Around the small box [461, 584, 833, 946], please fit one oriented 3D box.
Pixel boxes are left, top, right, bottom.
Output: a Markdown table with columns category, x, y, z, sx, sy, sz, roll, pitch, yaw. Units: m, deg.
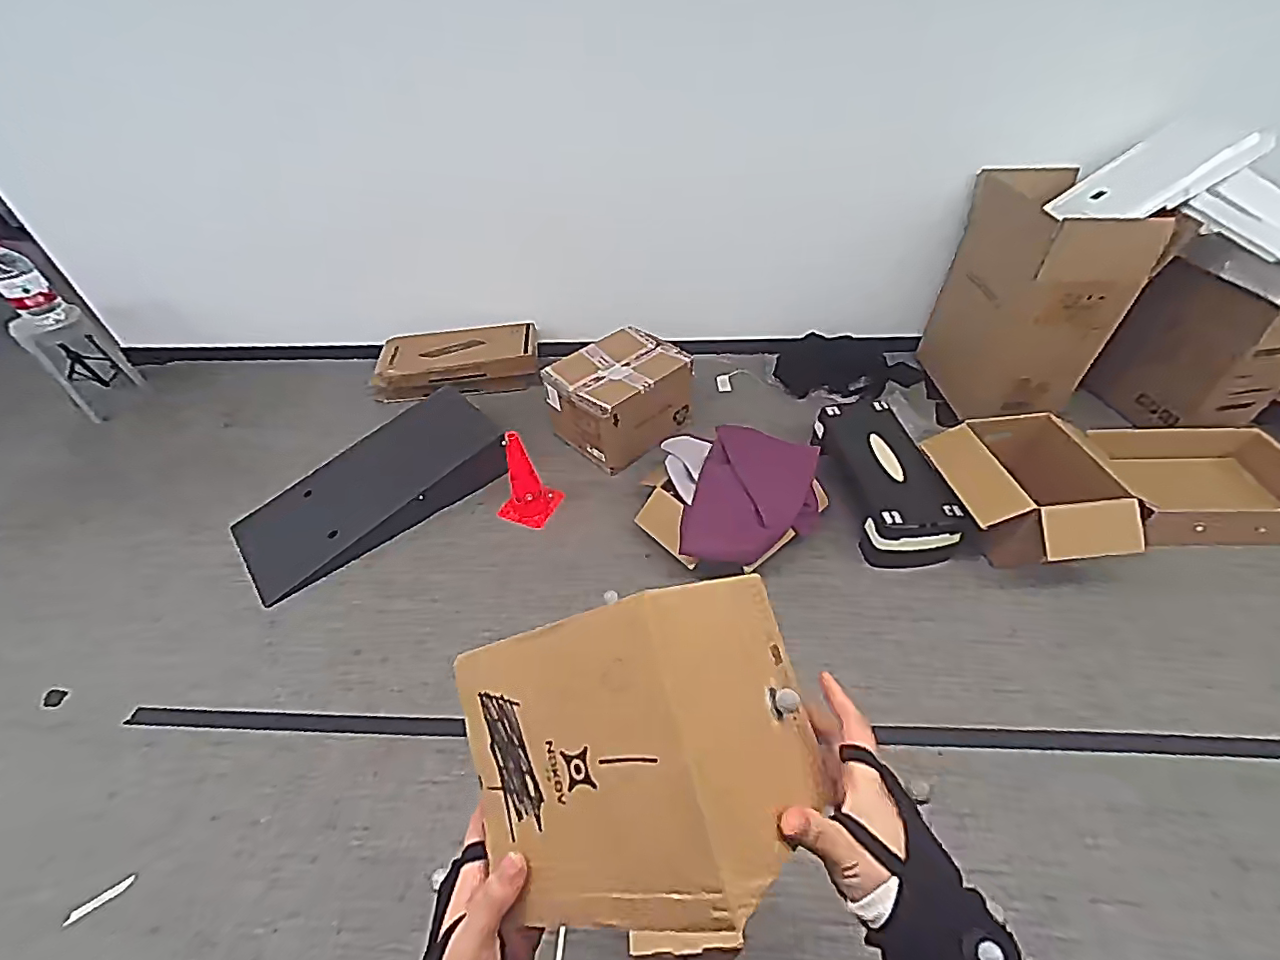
| category | x | y | z | sx | sy | sz | roll | pitch | yaw |
| --- | --- | --- | --- | --- | --- | --- | --- | --- | --- |
| small box | 0.007 | 0.177 | 0.379 | 0.179 | 0.176 | 0.168 | -26 | 71 | 29 |
